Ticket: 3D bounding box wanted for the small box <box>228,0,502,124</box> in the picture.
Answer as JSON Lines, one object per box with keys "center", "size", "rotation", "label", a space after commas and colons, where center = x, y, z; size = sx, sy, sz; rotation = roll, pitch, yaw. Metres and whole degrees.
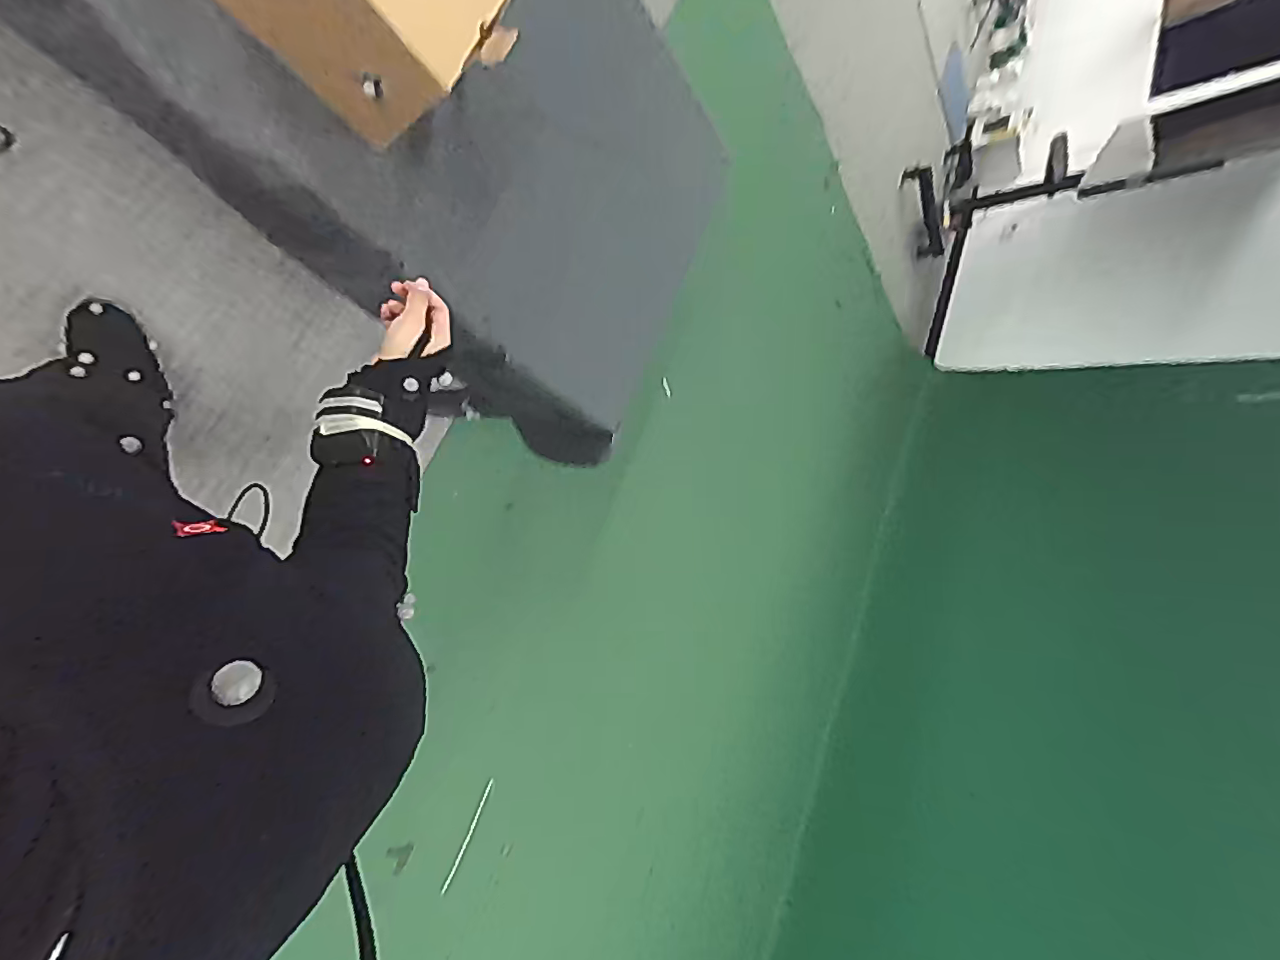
{"center": [-0.256, -0.478, 0.510], "size": [0.179, 0.176, 0.168], "rotation": [36, 68, -42], "label": "small box"}
